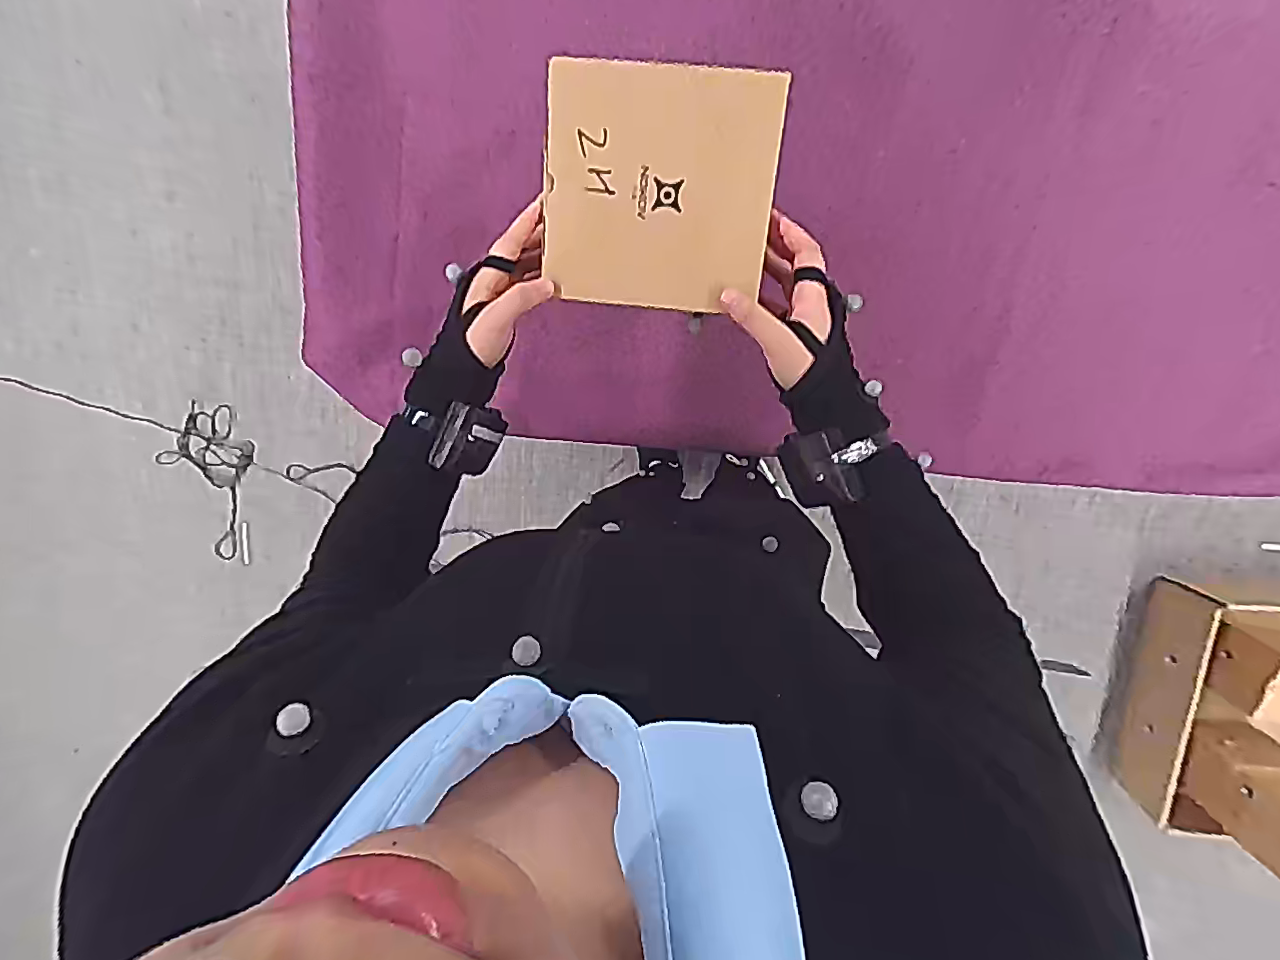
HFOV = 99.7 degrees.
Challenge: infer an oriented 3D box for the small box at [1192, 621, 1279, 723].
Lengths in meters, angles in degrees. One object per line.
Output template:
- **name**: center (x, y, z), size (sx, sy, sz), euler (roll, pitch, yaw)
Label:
- **small box**: center (1.487, 0.455, 1.270), size (0.179, 0.176, 0.168), euler (12, 105, 4)

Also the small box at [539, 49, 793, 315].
- **small box**: center (0.019, -0.241, 0.479), size (0.179, 0.176, 0.168), euler (7, 107, 3)

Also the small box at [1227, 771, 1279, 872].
- **small box**: center (1.455, 0.763, 1.173), size (0.179, 0.176, 0.168), euler (2, 103, 6)
